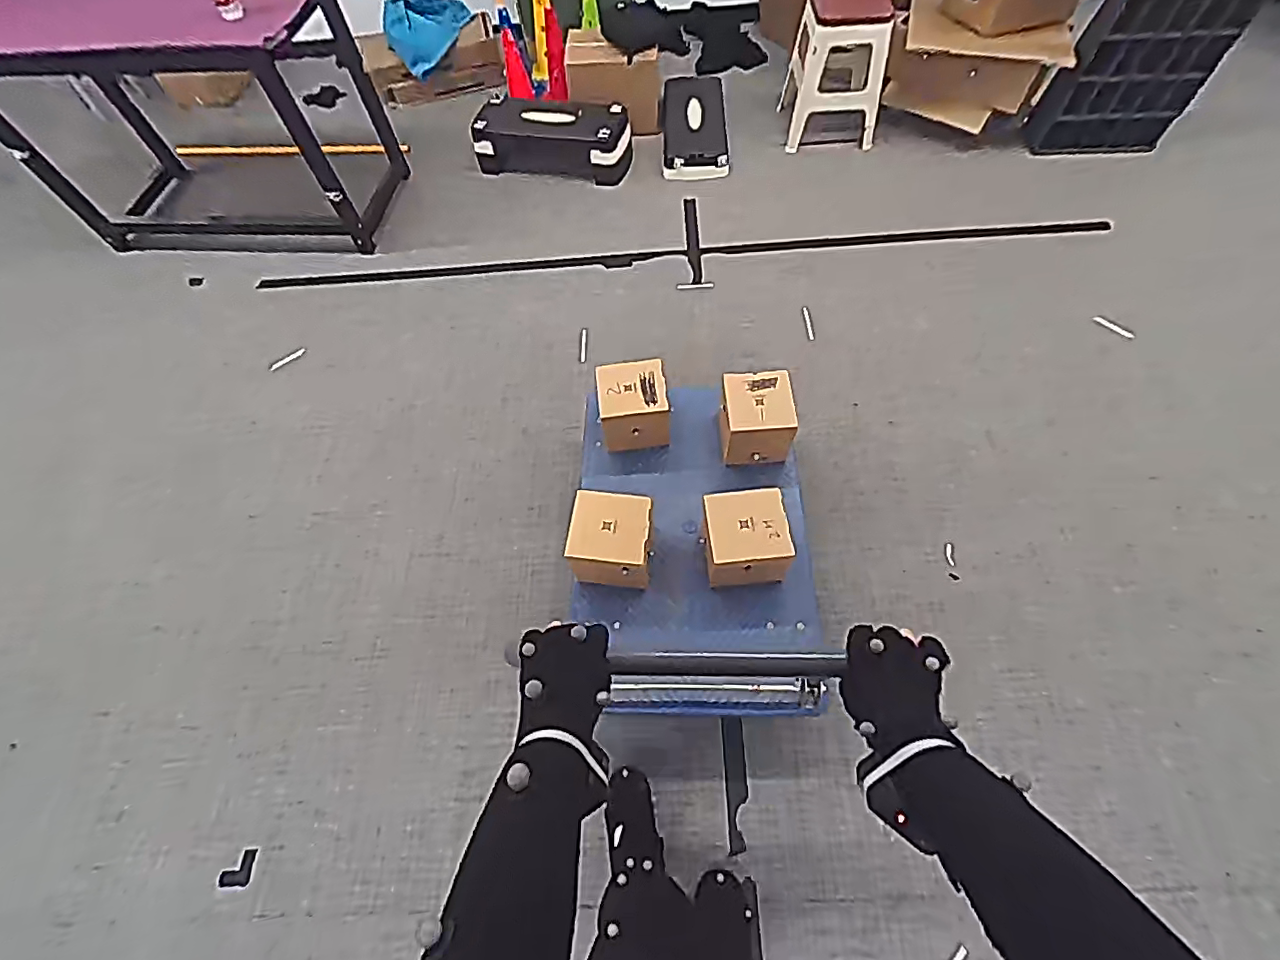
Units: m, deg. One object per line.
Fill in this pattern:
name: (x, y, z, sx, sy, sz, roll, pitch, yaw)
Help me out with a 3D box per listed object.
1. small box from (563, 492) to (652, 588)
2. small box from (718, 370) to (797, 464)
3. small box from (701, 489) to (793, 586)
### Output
small box: (-0.067, 0.144, 1.257, 0.179, 0.176, 0.168, 5, 62, 5)
small box: (0.294, -0.159, 1.394, 0.168, 0.176, 0.179, -4, 63, 2)
small box: (0.236, 0.137, 1.239, 0.179, 0.176, 0.168, -6, 62, 1)
